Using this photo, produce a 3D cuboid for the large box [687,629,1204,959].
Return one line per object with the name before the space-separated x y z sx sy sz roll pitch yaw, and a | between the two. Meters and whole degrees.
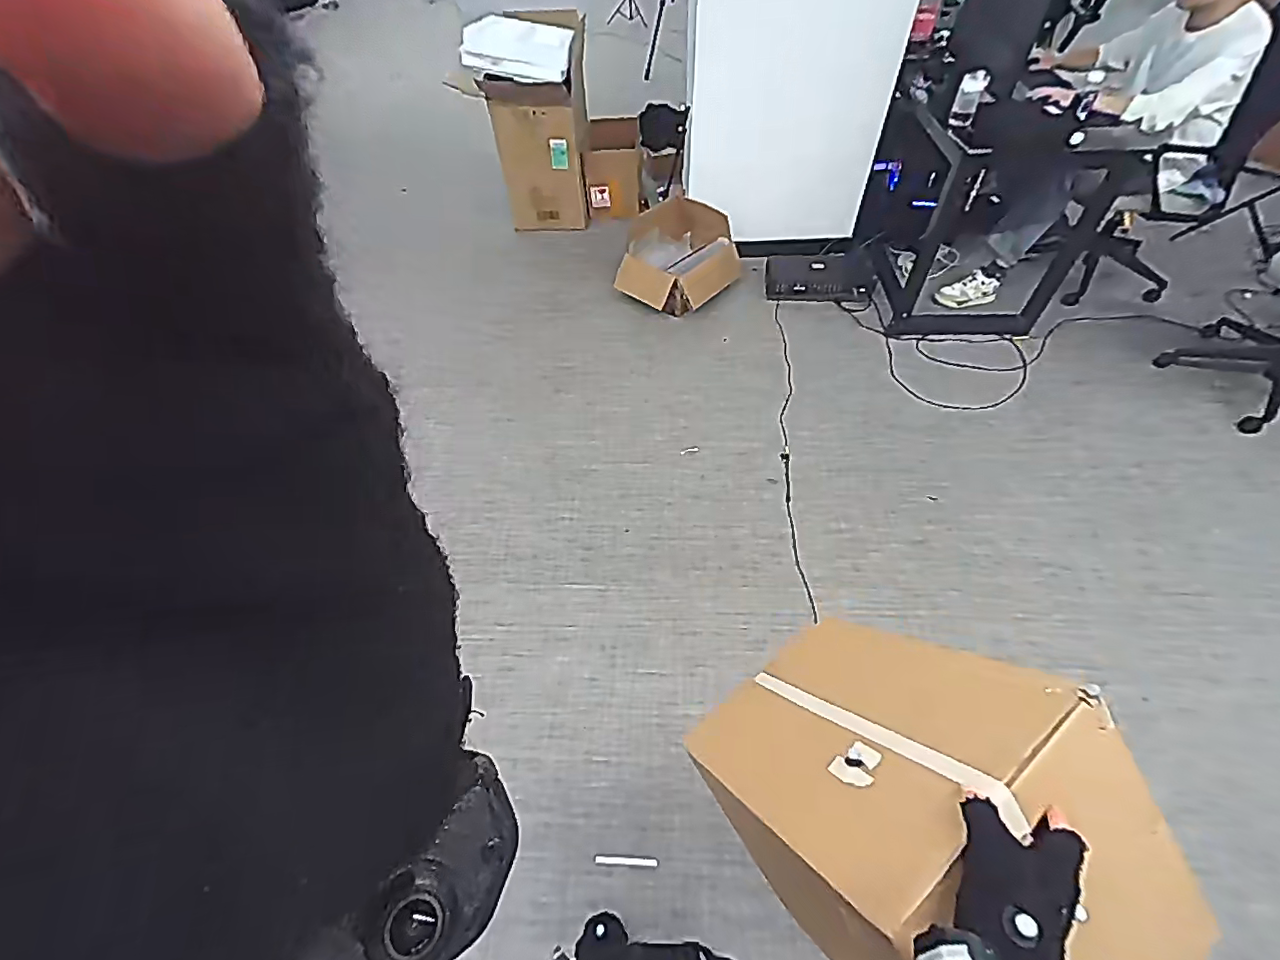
large box | 0.327 0.434 0.677 0.320 0.408 0.320 -33 97 -19
